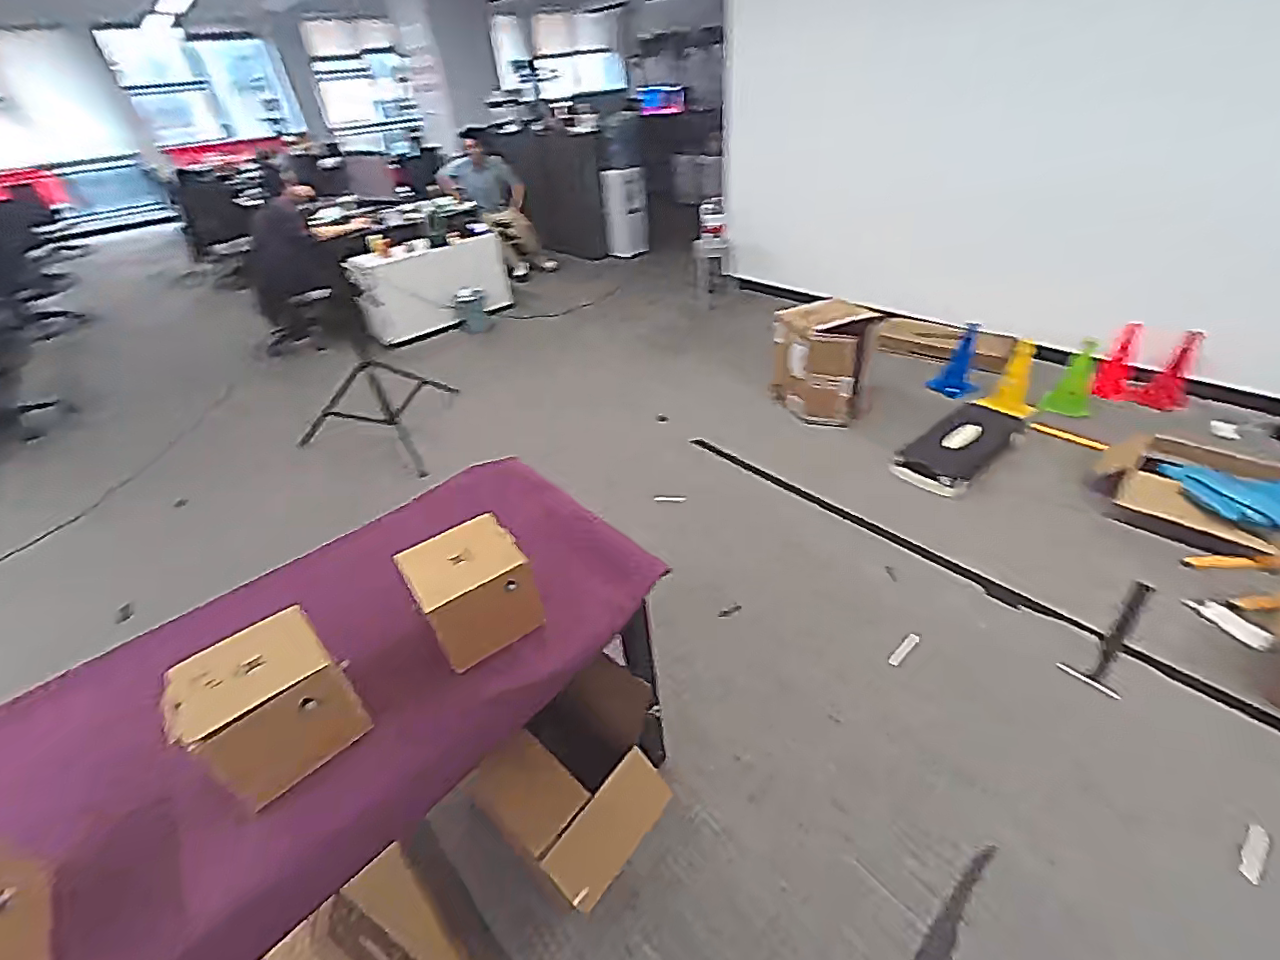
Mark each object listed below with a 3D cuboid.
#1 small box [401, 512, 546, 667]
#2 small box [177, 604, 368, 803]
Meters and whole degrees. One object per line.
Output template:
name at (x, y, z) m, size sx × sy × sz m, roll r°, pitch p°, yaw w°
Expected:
small box at (-0.288, 0.192, 0.957) m, size 0.179 × 0.176 × 0.168 m, roll -27°, pitch 42°, yaw -26°
small box at (-0.535, 0.329, 0.809) m, size 0.179 × 0.176 × 0.168 m, roll -33°, pitch 42°, yaw -31°
